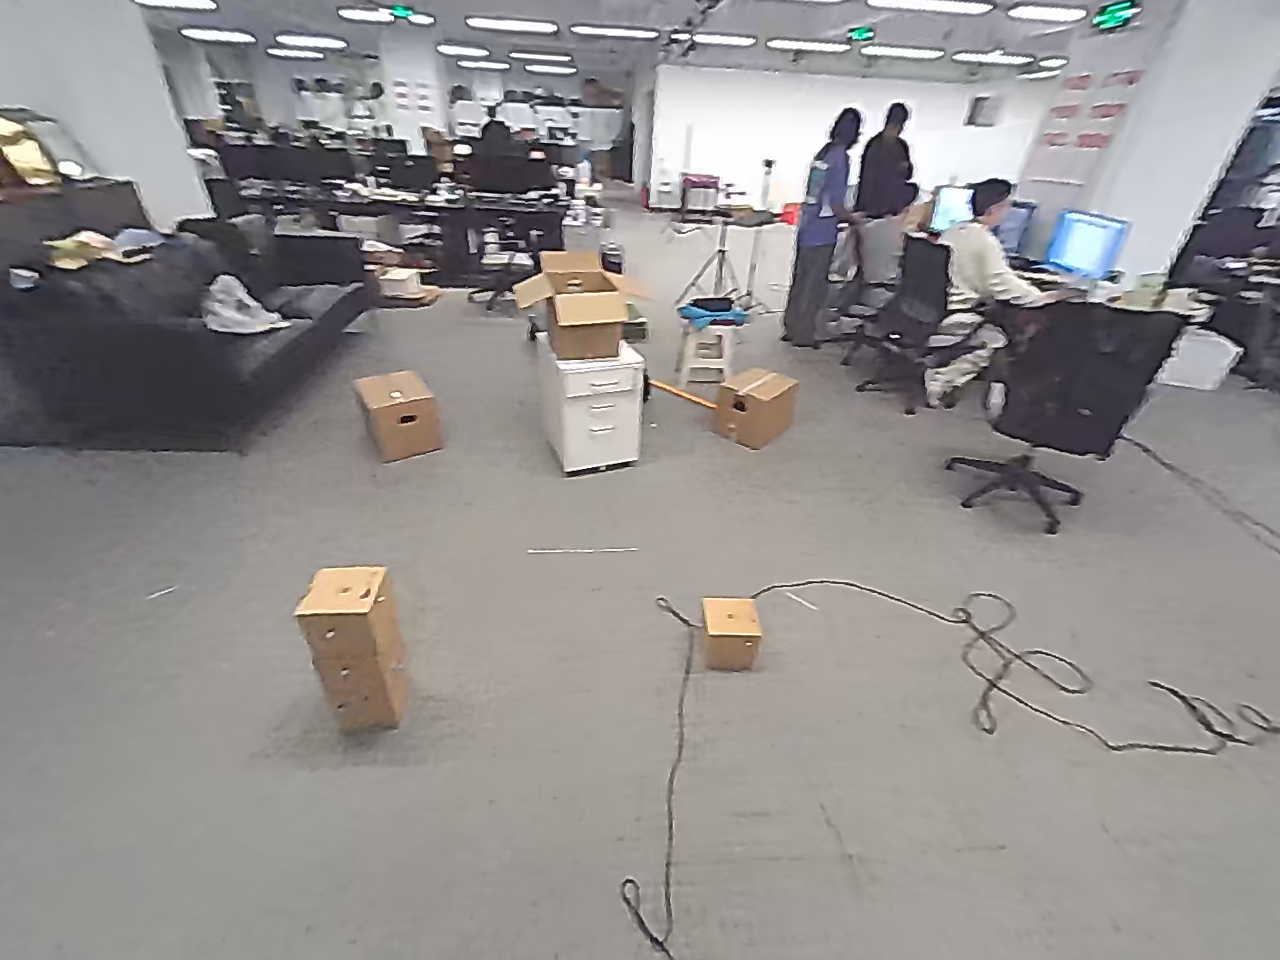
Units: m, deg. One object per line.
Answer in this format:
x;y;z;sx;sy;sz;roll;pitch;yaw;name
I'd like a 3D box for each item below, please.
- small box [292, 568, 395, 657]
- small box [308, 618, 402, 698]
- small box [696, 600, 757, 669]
-0.780;0.354;1.443;0.179;0.176;0.168;-1;34;-6;small box
-0.794;0.495;1.526;0.179;0.176;0.168;0;34;-7;small box
0.290;0.532;1.859;0.179;0.176;0.168;2;33;-4;small box
